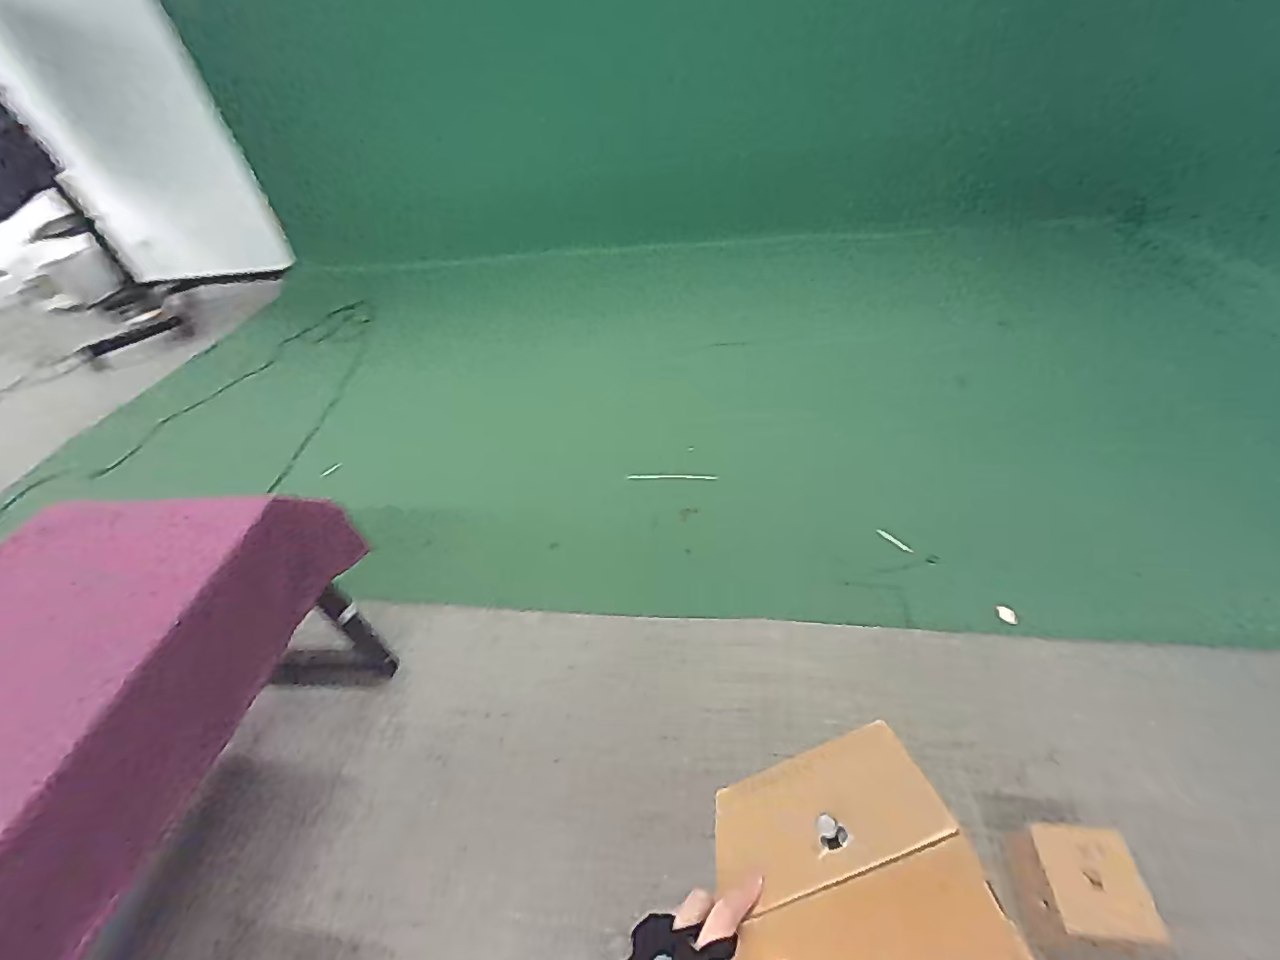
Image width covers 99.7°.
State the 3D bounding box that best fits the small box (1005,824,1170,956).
[{"bbox_3d":[0.858,0.805,1.061,0.168,0.176,0.179,0,44,10],"label":"small box"}]
